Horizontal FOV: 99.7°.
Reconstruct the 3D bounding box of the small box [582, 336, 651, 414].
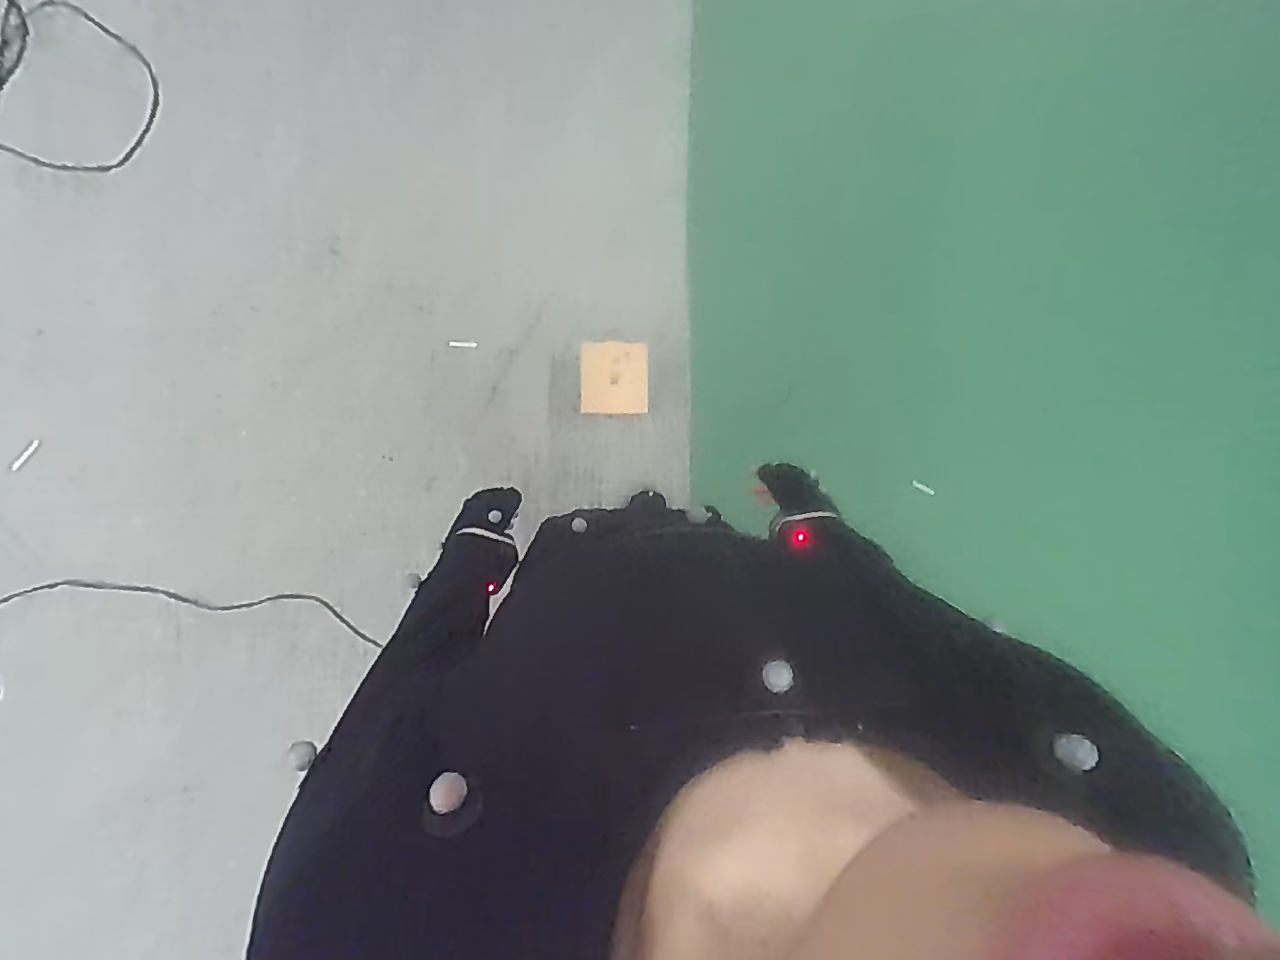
[{"bbox_3d":[-0.063,-0.262,1.383,0.168,0.176,0.179,0,92,-7],"label":"small box"}]
